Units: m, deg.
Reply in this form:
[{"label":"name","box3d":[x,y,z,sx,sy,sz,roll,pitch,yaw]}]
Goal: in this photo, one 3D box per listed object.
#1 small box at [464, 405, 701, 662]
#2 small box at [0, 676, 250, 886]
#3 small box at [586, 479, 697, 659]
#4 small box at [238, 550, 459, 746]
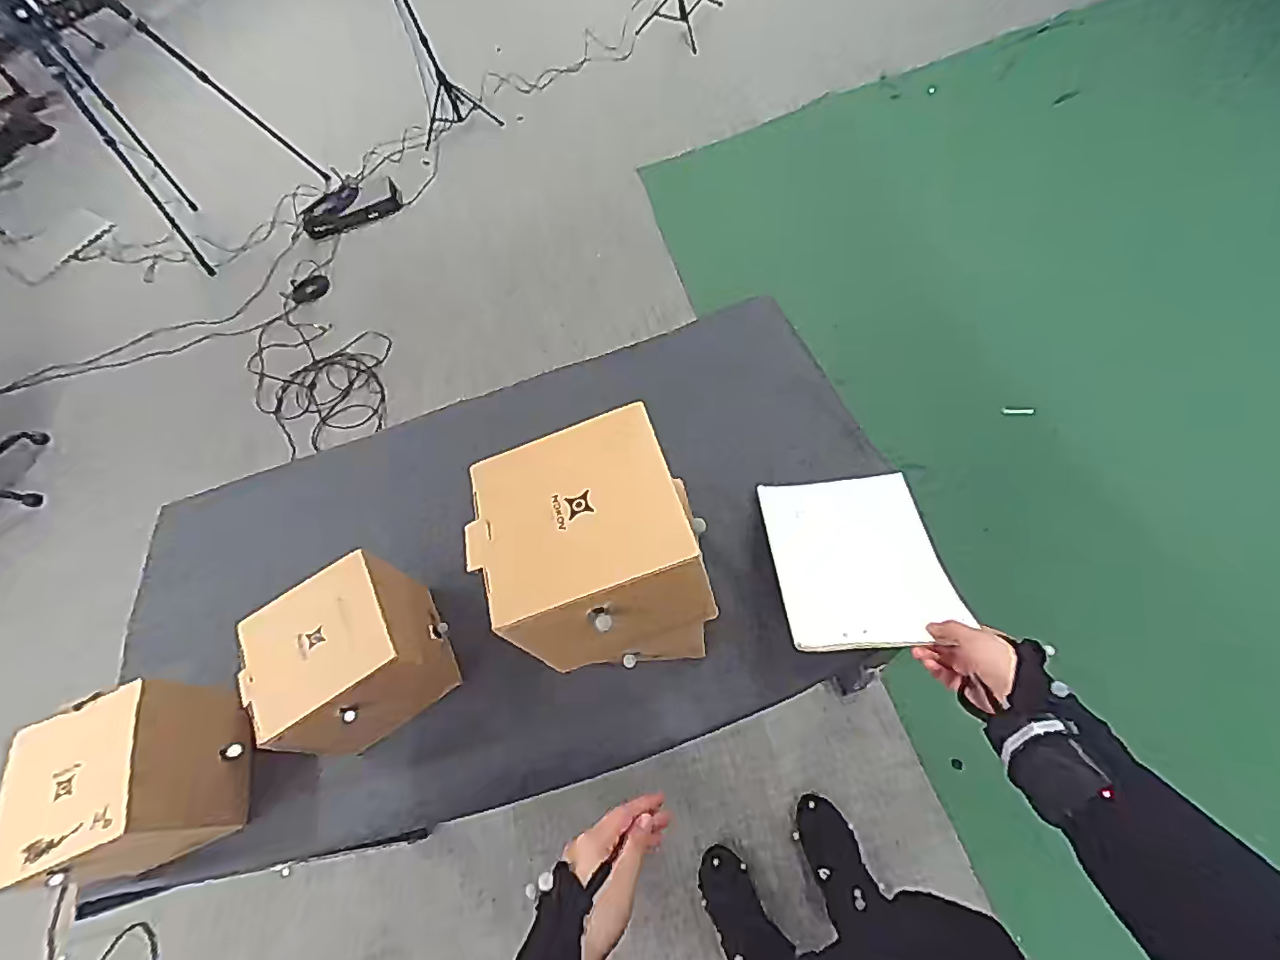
[{"label":"small box","box3d":[-0.046,0.062,0.534,0.179,0.176,0.168,-21,58,2]},{"label":"small box","box3d":[-0.638,0.379,0.692,0.168,0.176,0.179,-24,59,-1]},{"label":"small box","box3d":[-0.021,0.119,0.686,0.168,0.176,0.179,-7,61,11]},{"label":"small box","box3d":[-0.376,0.228,0.714,0.179,0.176,0.168,-33,60,-6]}]
